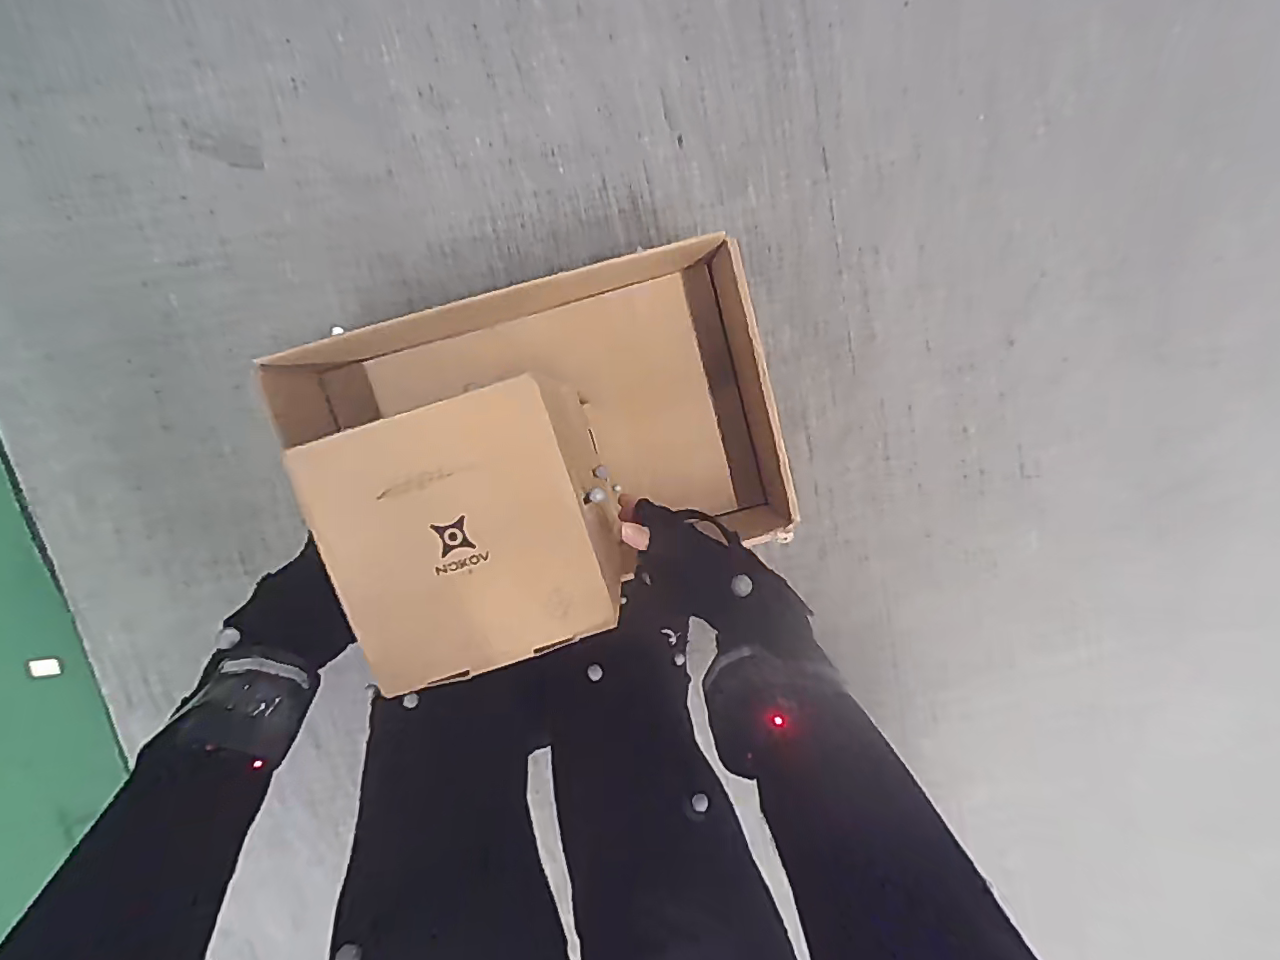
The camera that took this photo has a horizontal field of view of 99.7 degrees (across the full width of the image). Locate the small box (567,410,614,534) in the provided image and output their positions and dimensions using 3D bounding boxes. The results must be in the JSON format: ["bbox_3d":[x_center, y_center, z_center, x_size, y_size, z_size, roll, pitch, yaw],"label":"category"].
[{"bbox_3d":[-0.138,-0.001,0.765,0.179,0.176,0.168,-13,98,1],"label":"small box"}]

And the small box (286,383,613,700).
[{"bbox_3d":[-0.121,0.032,0.426,0.168,0.176,0.179,-18,97,-1],"label":"small box"}]
